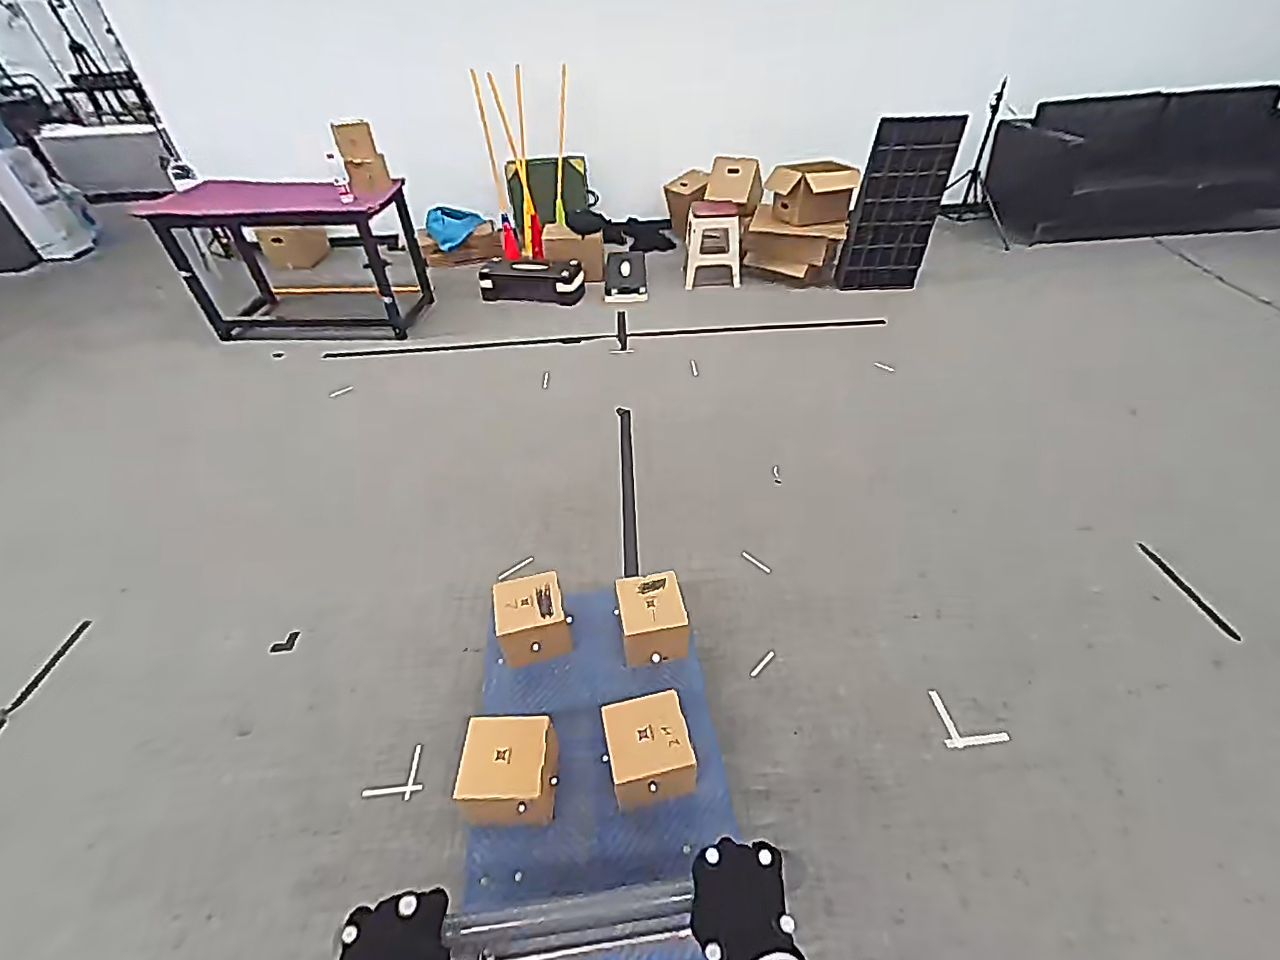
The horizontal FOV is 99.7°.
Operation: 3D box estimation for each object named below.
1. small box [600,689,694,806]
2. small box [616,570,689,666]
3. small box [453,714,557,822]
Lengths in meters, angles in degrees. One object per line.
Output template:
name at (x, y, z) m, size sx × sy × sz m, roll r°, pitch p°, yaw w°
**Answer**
small box at (0.016, 0.598, 1.203) m, size 0.179 × 0.176 × 0.168 m, roll -10°, pitch 43°, yaw -8°
small box at (0.030, 0.370, 1.454) m, size 0.168 × 0.176 × 0.179 m, roll -8°, pitch 43°, yaw -6°
small box at (-0.285, 0.631, 1.182) m, size 0.179 × 0.176 × 0.168 m, roll -1°, pitch 42°, yaw 0°
